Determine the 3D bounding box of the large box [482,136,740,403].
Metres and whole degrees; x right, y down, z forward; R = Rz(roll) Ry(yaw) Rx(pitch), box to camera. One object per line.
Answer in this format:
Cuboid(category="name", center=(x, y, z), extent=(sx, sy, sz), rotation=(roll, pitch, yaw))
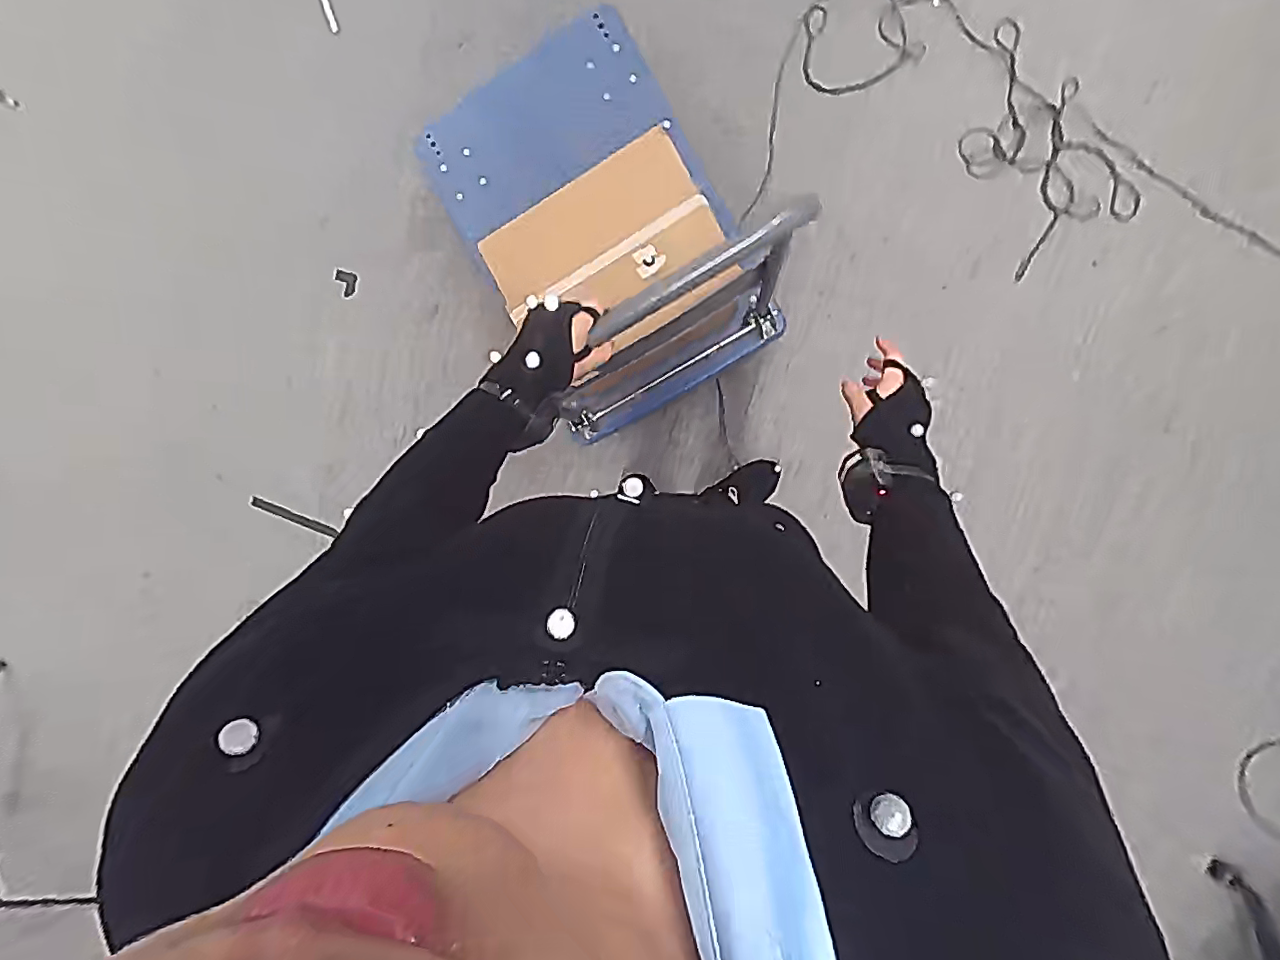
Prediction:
Cuboid(category="large box", center=(-0.044, -0.402, 1.146), extent=(0.408, 0.320, 0.320), rotation=(-28, 91, 8))
